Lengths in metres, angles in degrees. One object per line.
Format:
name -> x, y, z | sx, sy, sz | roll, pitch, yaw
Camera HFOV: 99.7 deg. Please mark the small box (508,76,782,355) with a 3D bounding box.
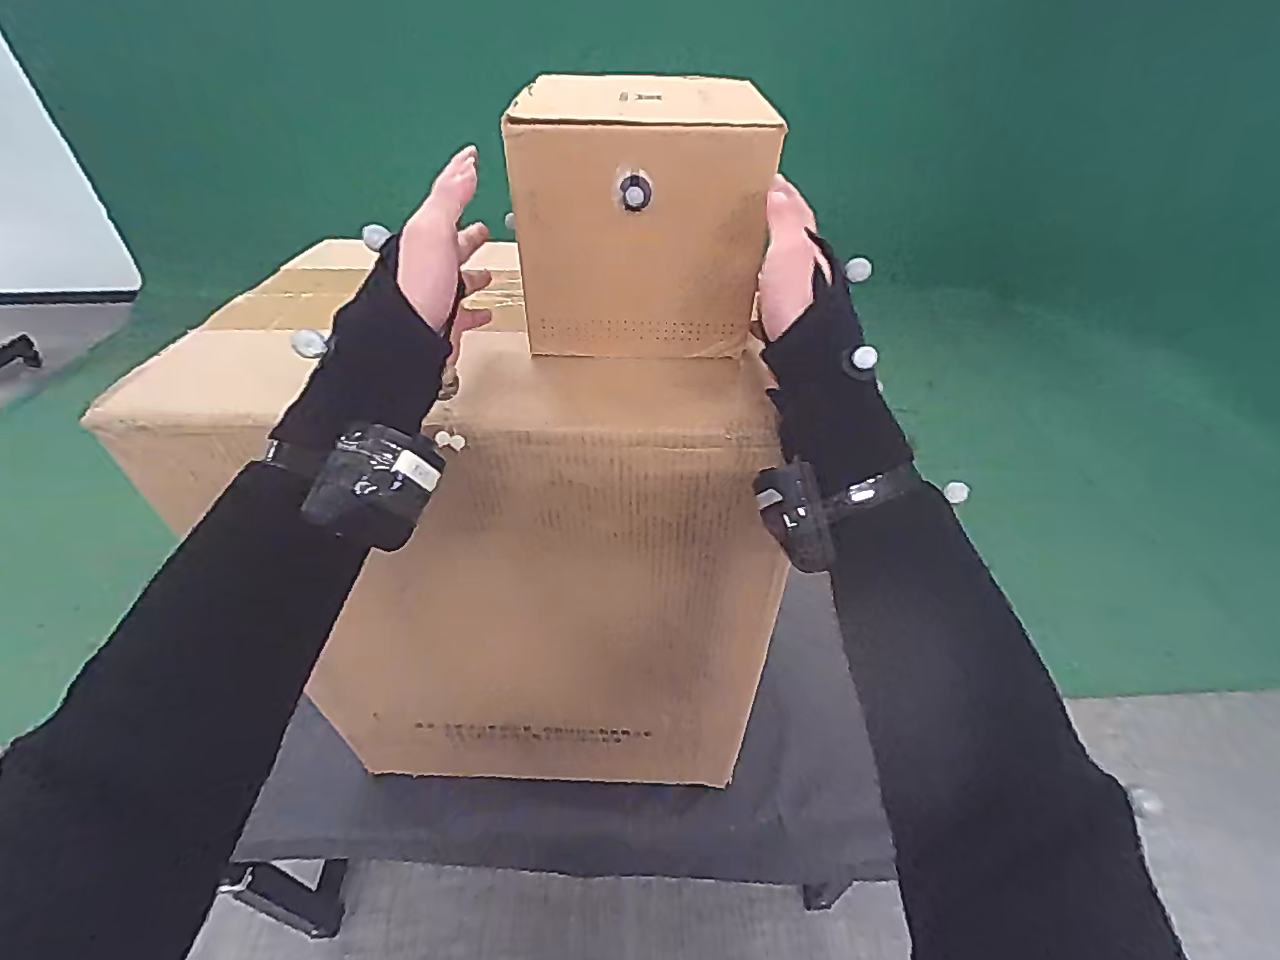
small box -> 0.002, -0.218, 0.449 | 0.179, 0.176, 0.168 | 2, 44, -2
